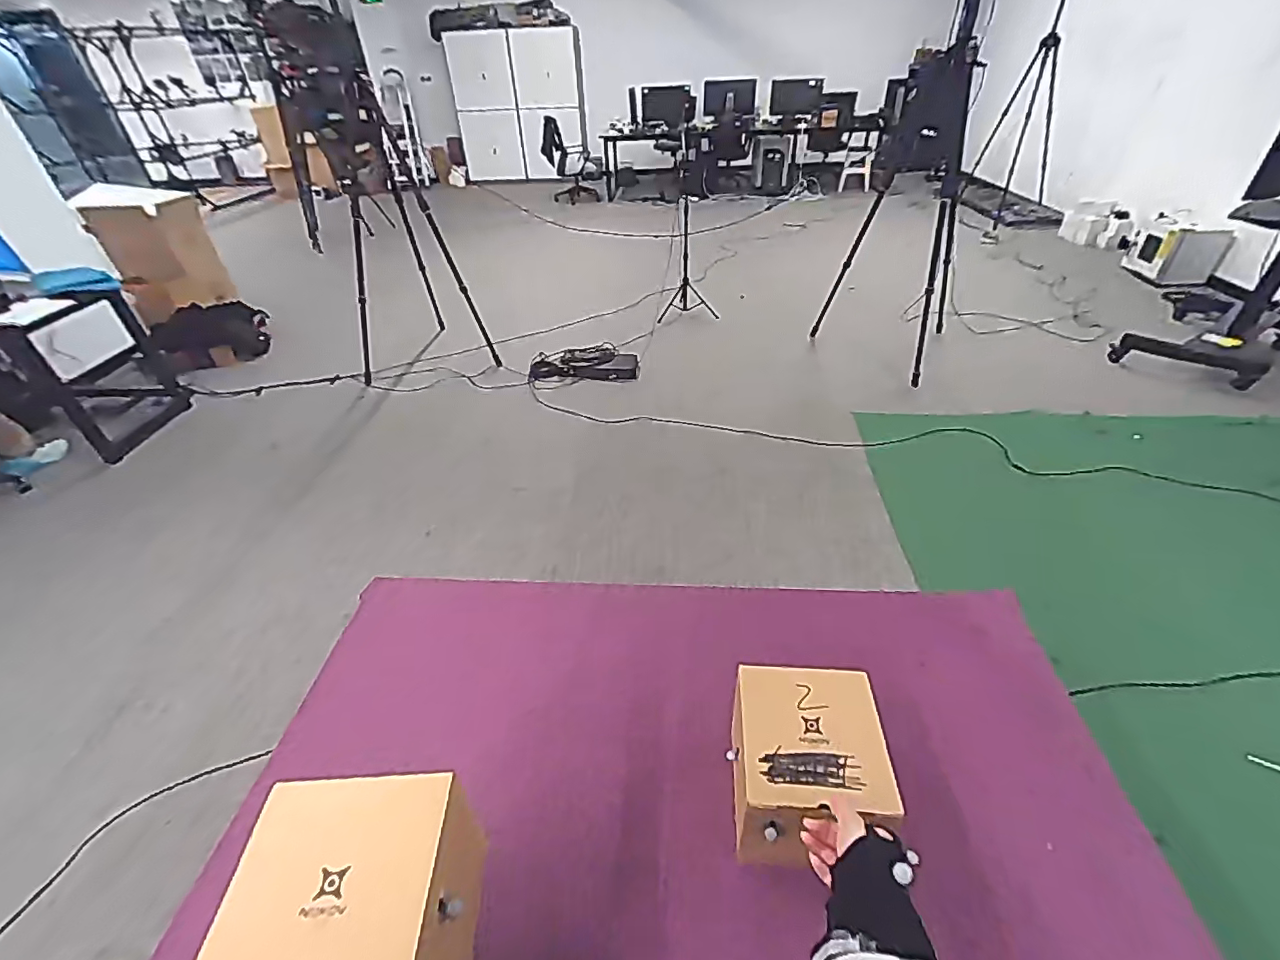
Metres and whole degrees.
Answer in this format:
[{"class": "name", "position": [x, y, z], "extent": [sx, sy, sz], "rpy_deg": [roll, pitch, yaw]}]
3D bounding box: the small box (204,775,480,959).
[{"class": "small box", "position": [-0.254, 0.402, 0.500], "extent": [0.168, 0.176, 0.179], "rpy_deg": [-2, 39, -2]}]
